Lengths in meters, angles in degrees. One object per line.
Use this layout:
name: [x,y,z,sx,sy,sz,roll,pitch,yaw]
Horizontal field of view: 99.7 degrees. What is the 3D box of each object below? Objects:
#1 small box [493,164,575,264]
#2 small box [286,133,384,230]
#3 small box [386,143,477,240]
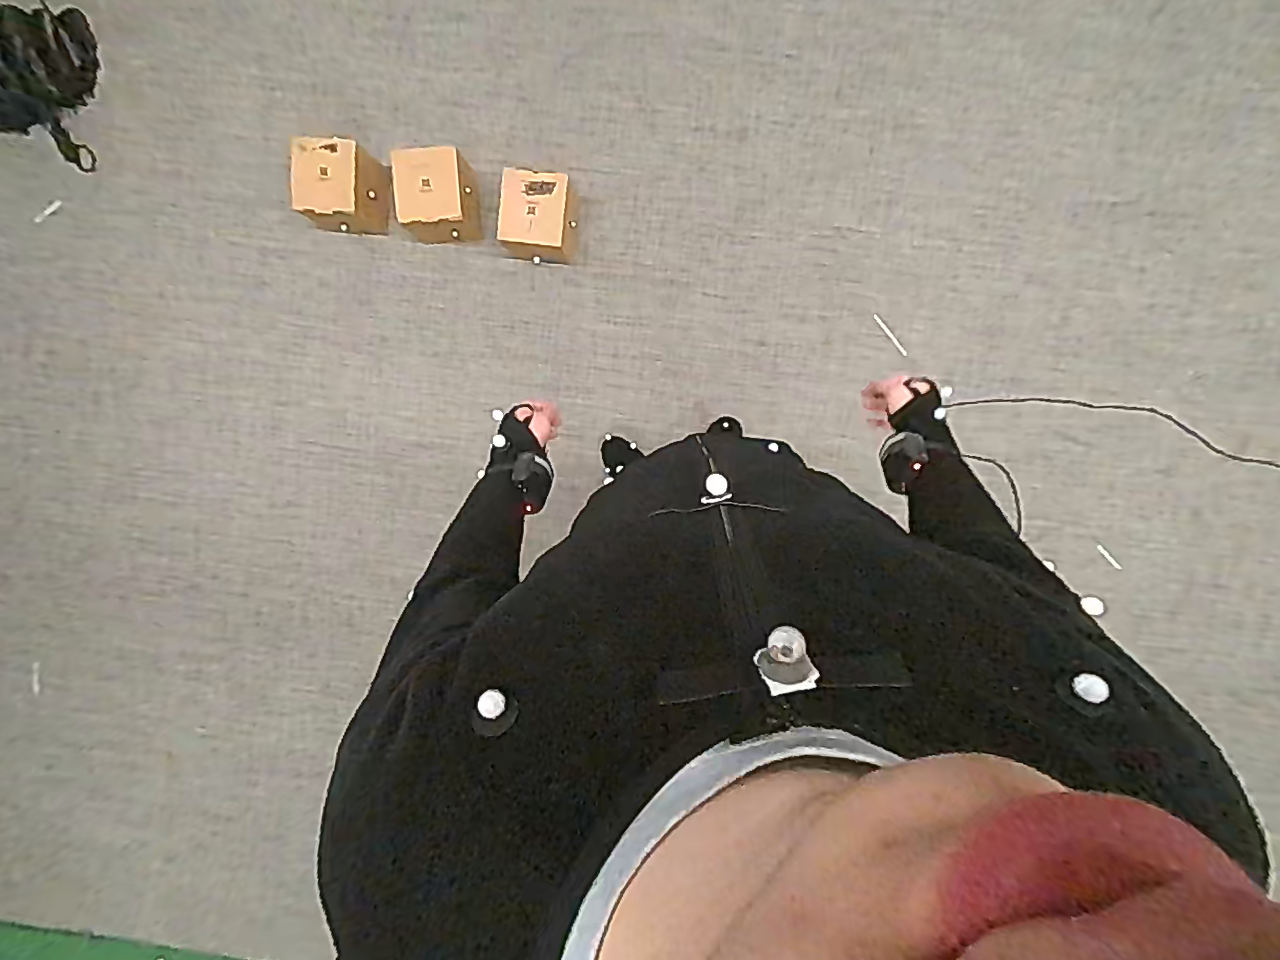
small box: [-0.268,-0.681,1.401,0.168,0.176,0.179,8,97,2]
small box: [-0.790,-0.770,1.412,0.168,0.176,0.179,5,97,2]
small box: [-0.535,-0.740,1.407,0.168,0.176,0.179,-3,95,1]
